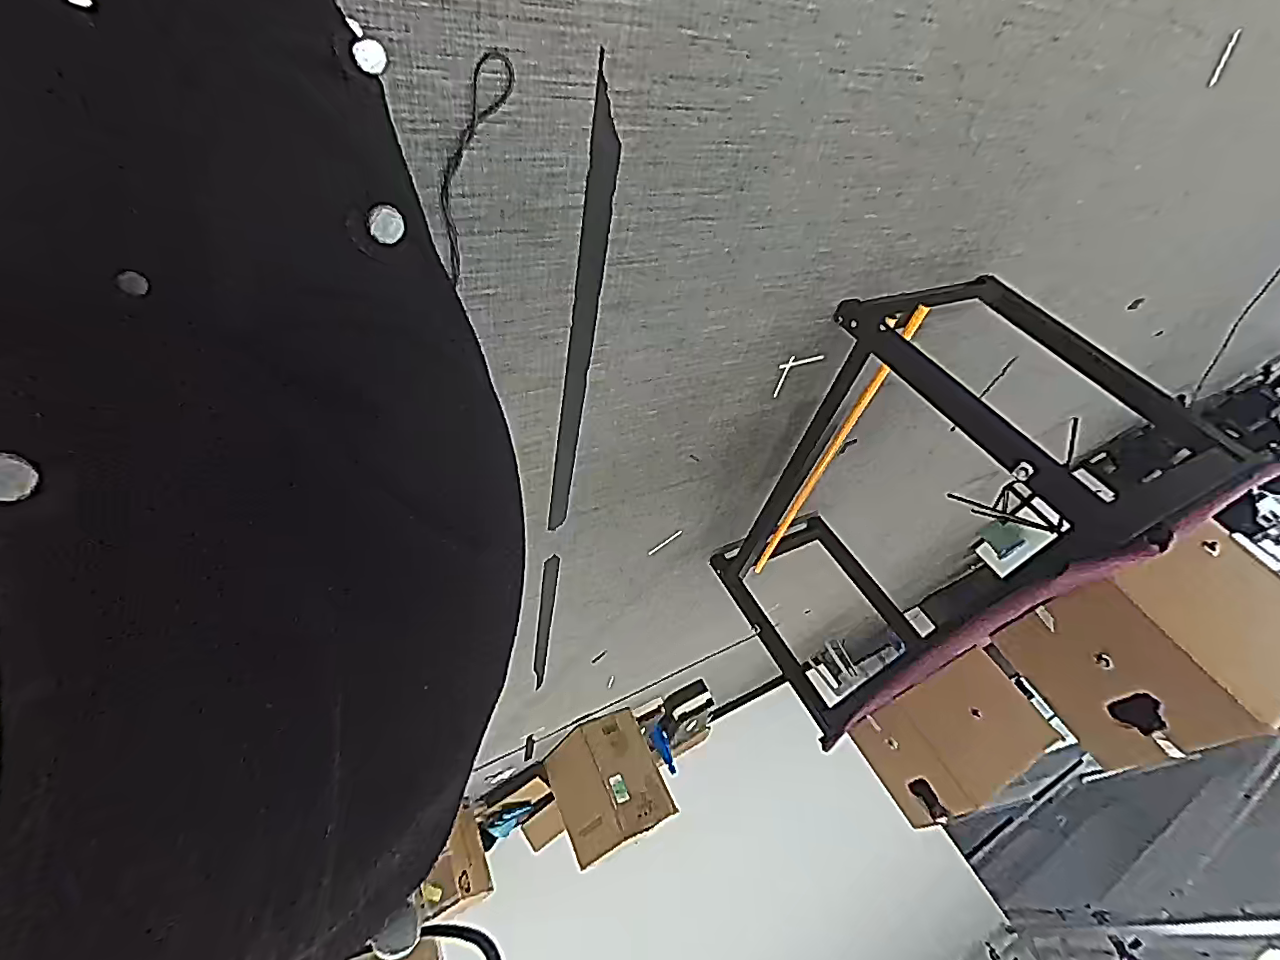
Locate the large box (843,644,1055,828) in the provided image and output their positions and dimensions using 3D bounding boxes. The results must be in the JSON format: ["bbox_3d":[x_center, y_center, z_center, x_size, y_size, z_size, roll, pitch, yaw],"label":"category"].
[{"bbox_3d":[0.911,0.766,1.636,0.408,0.320,0.320,-18,147,-26],"label":"large box"}]
